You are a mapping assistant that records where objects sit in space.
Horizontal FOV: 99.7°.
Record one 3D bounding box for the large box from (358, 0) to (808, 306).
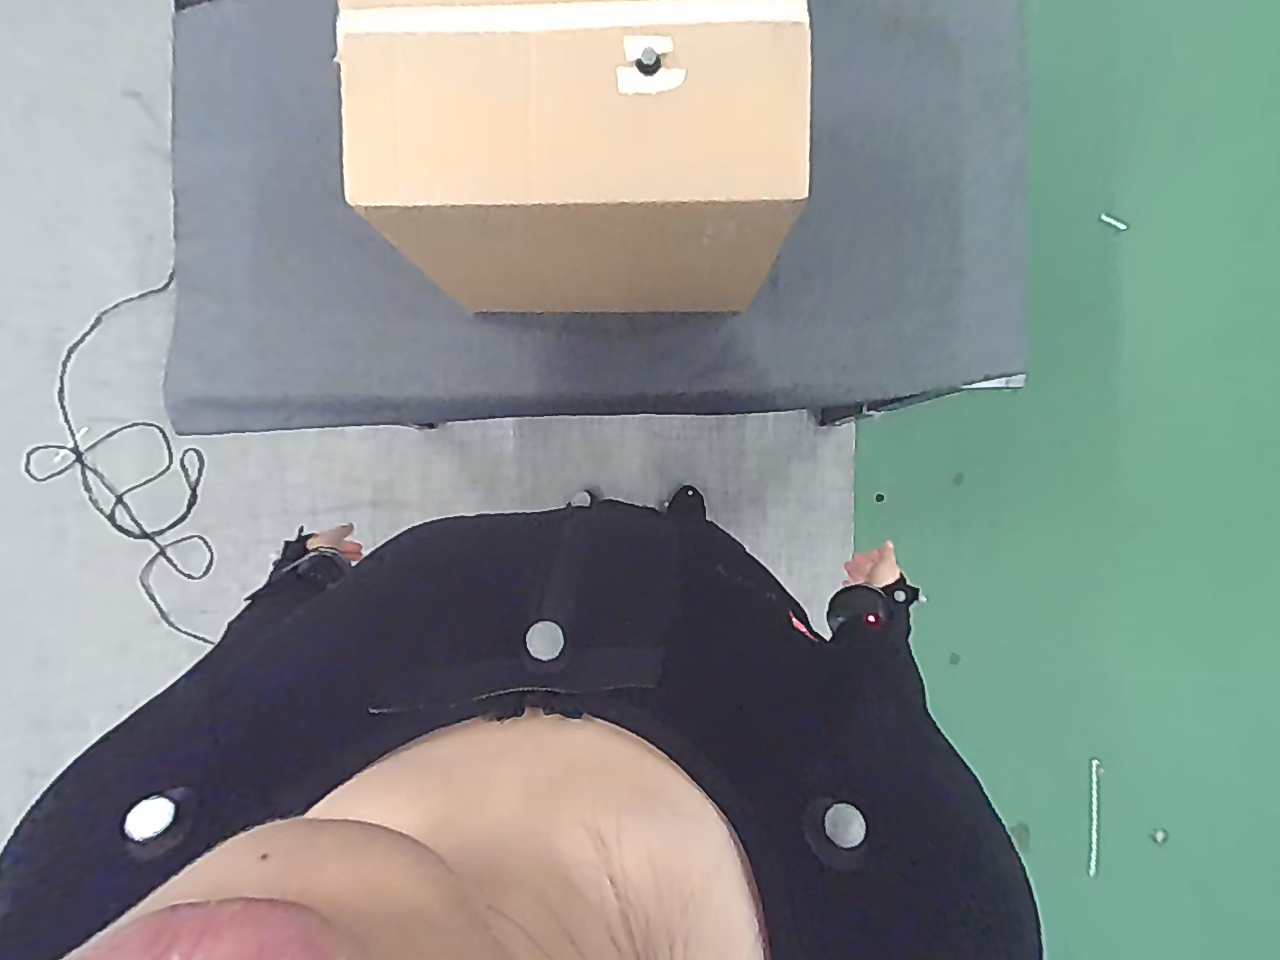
[{"bbox_3d":[-0.052,-0.406,0.627,0.408,0.320,0.320,0,91,1],"label":"large box"}]
